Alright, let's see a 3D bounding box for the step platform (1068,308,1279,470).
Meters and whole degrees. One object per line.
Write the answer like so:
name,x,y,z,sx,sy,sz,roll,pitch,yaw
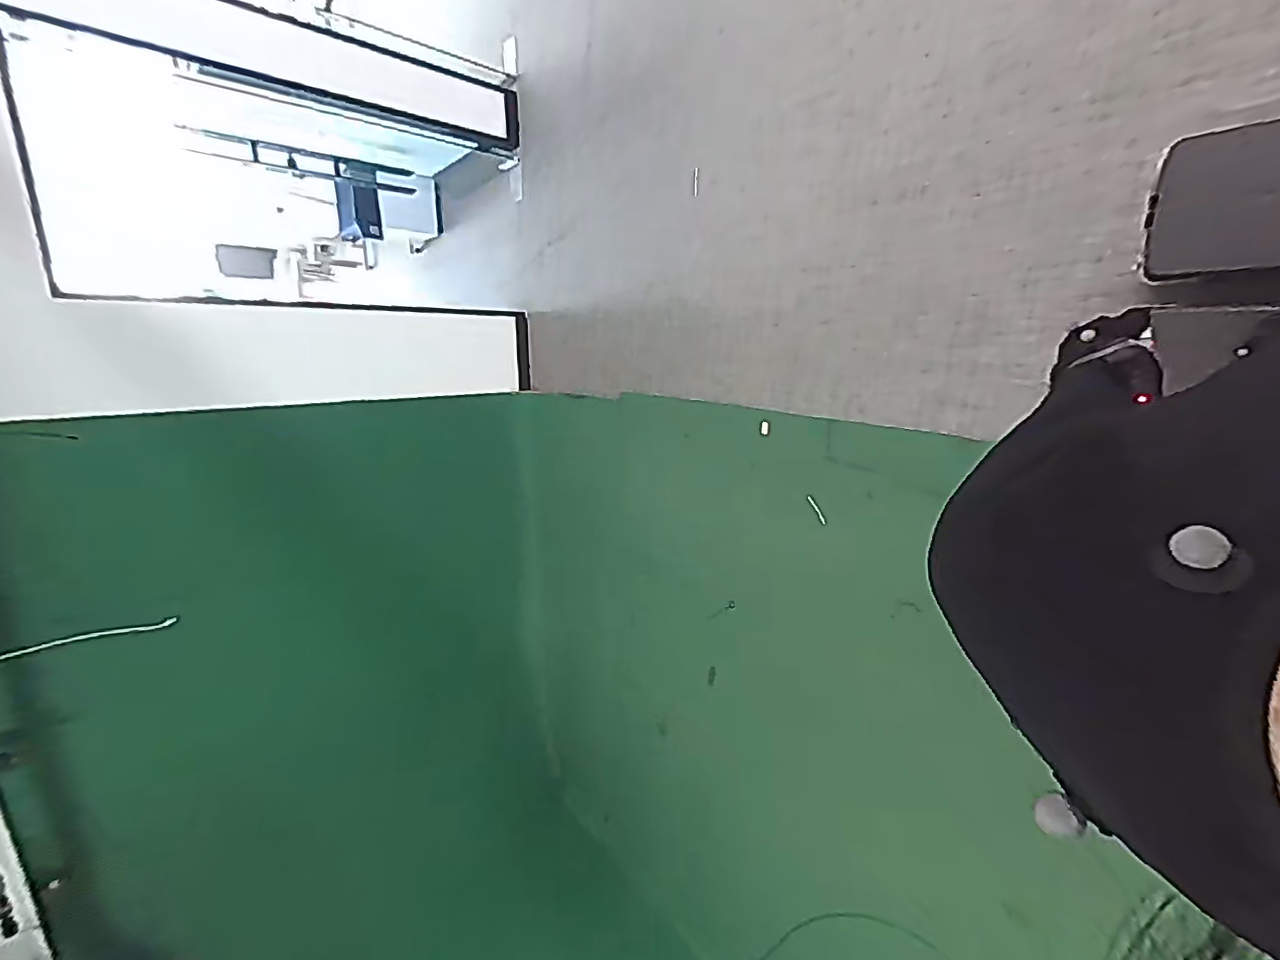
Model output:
step platform,1.134,-0.136,0.863,0.684,0.204,0.286,15,110,47
